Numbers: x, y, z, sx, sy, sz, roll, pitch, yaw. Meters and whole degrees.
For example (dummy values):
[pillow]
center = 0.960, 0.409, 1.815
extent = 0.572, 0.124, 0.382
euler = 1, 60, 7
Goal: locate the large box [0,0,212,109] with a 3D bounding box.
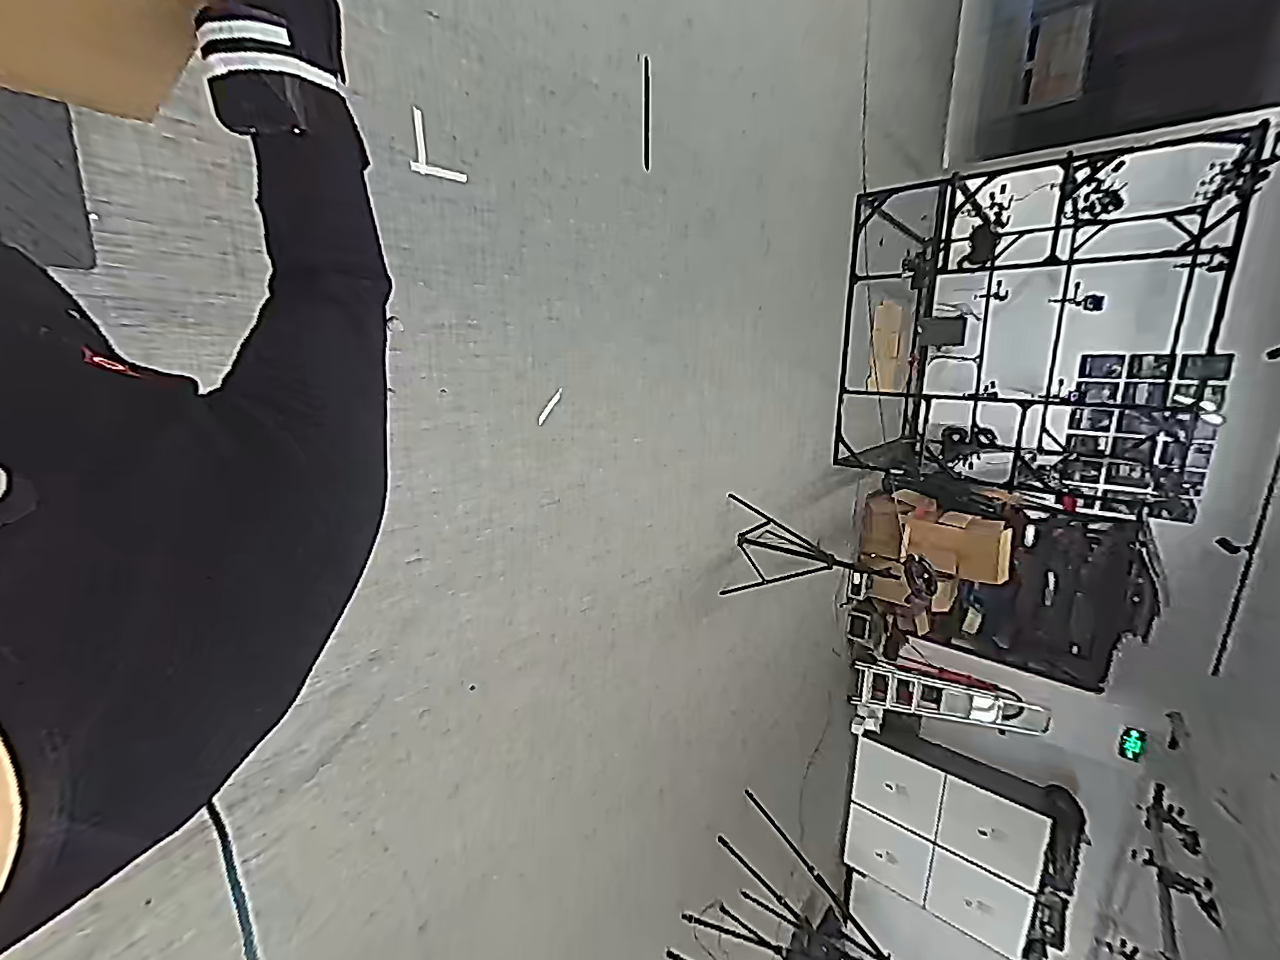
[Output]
[large box]
center = -0.490, -0.448, 0.248
extent = 0.408, 0.320, 0.320
euler = -14, 109, -48

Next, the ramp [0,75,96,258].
[ramp]
center = -1.130, -0.848, 0.697
extent = 0.509, 0.206, 0.991
euler = -18, 113, -49
